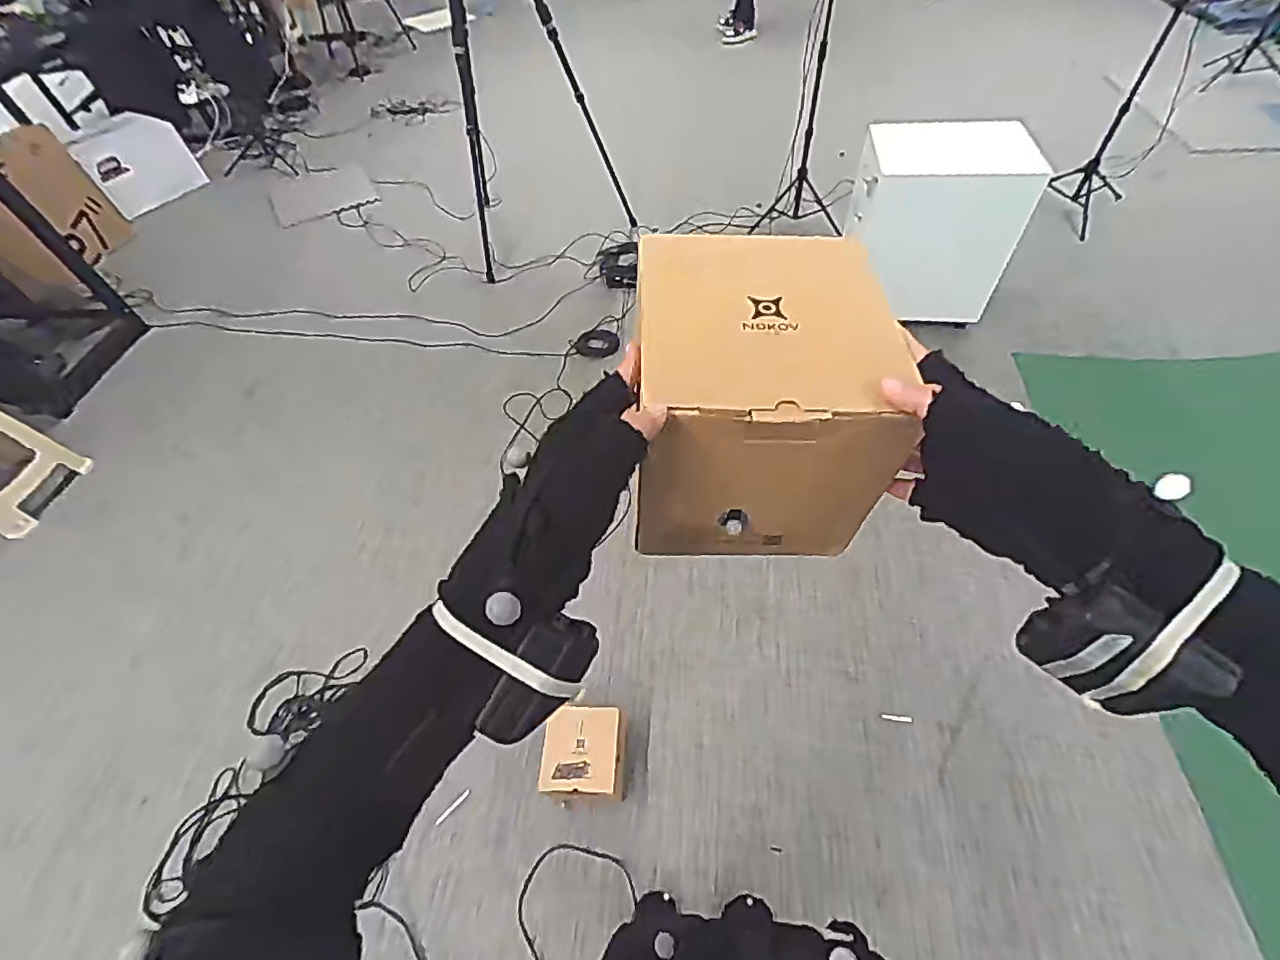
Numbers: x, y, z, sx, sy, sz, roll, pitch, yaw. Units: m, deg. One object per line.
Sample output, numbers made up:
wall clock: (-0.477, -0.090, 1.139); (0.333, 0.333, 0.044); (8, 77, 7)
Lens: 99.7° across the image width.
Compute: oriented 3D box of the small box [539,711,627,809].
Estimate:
small box: (-0.123, 0.648, 1.247); (0.168, 0.176, 0.179); (0, 52, 5)
